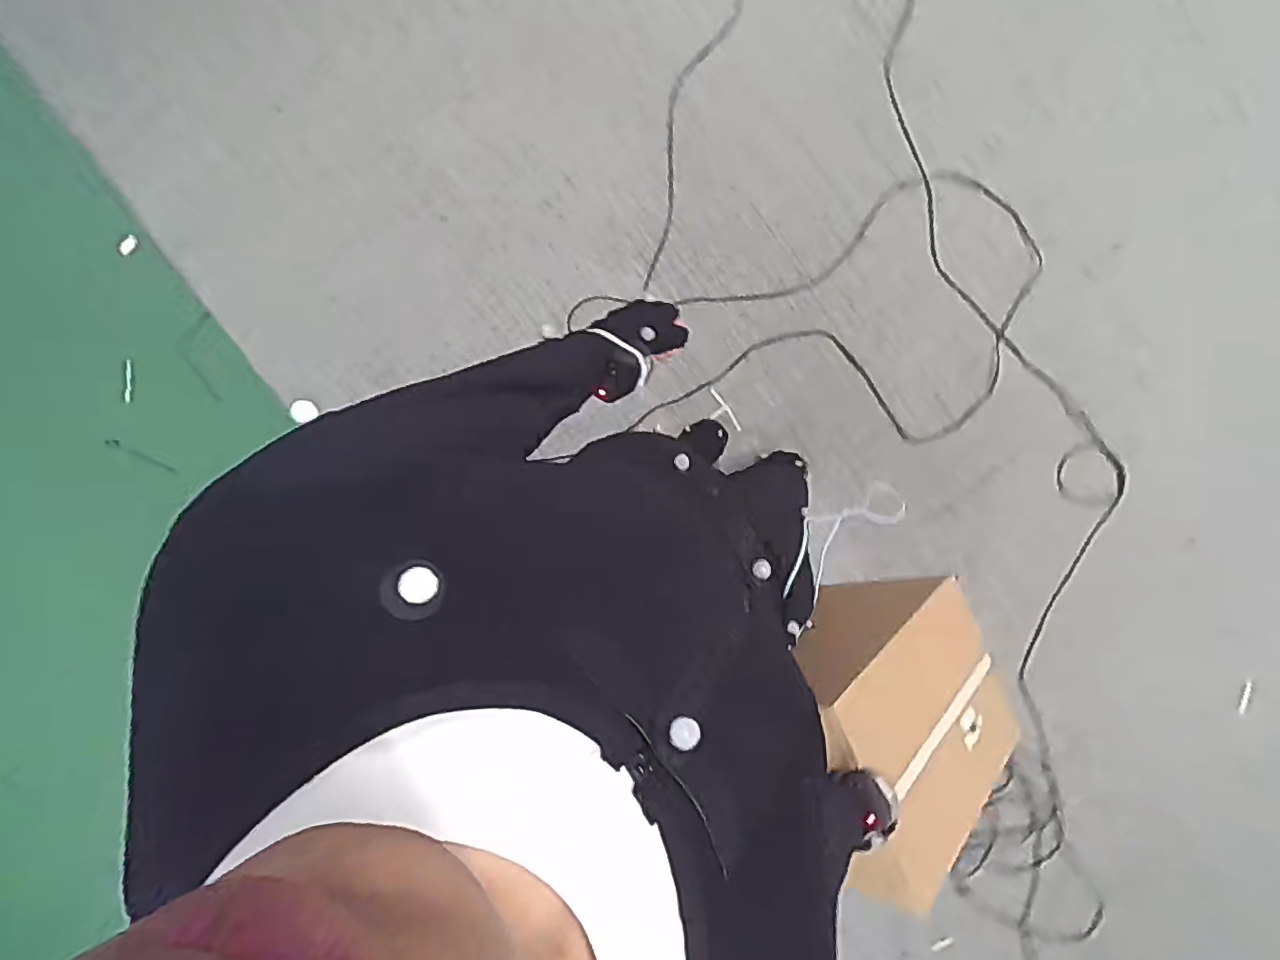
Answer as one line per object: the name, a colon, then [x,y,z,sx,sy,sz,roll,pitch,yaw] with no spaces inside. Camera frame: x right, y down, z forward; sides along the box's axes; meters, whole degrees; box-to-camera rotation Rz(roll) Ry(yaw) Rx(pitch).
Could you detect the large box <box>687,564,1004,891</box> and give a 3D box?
large box: [0.361,0.386,0.959,0.320,0.408,0.320,-20,93,53]
